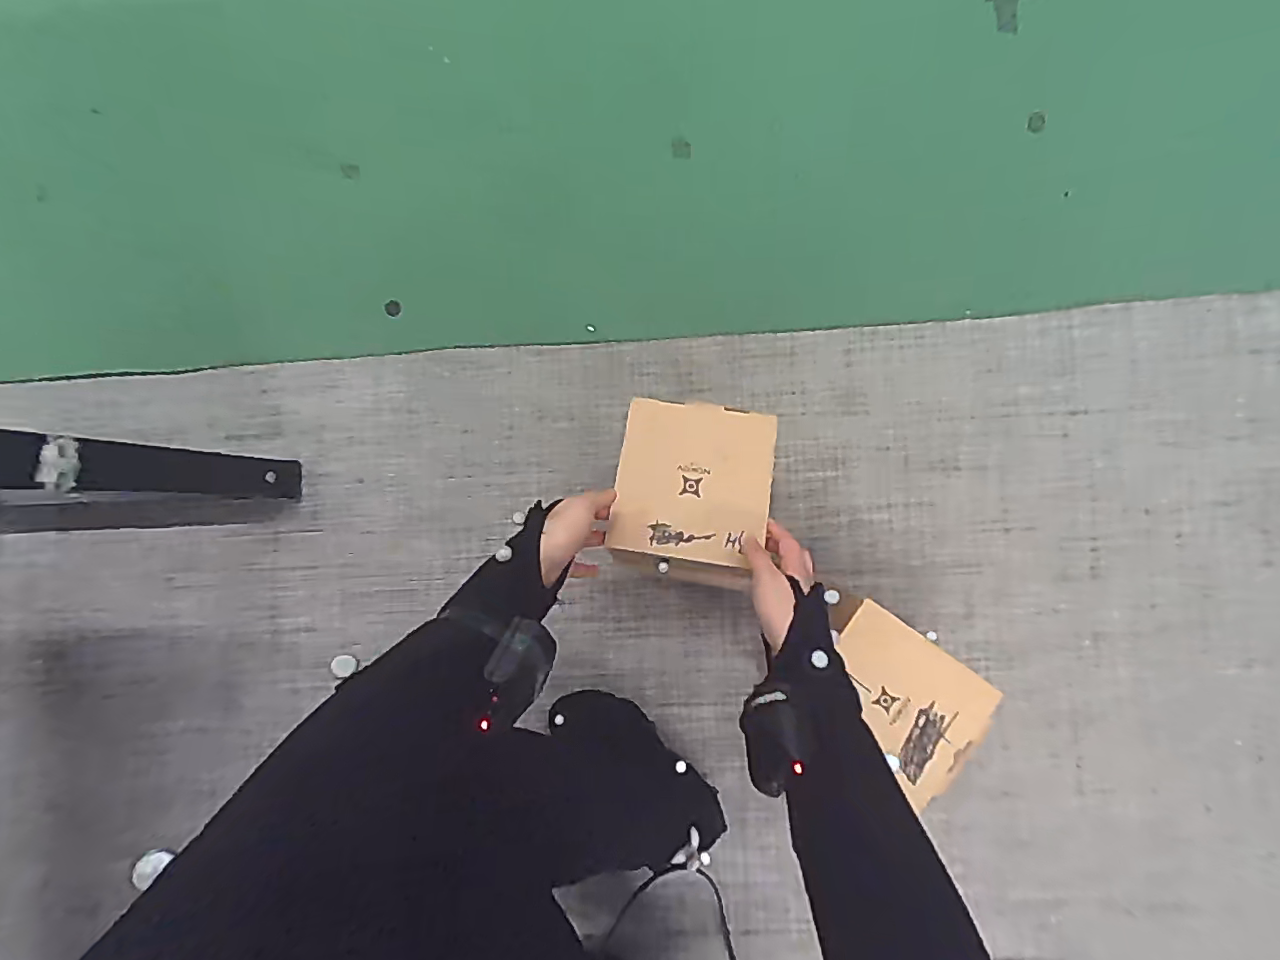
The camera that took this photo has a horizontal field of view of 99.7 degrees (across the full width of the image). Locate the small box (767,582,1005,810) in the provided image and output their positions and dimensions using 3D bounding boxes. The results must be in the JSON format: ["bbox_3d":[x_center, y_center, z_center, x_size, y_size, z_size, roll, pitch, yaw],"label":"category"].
[{"bbox_3d":[0.281,0.242,0.662,0.179,0.176,0.168,36,90,5],"label":"small box"}]

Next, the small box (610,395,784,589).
[{"bbox_3d":[0.067,0.023,0.646,0.168,0.176,0.179,8,72,6],"label":"small box"}]
